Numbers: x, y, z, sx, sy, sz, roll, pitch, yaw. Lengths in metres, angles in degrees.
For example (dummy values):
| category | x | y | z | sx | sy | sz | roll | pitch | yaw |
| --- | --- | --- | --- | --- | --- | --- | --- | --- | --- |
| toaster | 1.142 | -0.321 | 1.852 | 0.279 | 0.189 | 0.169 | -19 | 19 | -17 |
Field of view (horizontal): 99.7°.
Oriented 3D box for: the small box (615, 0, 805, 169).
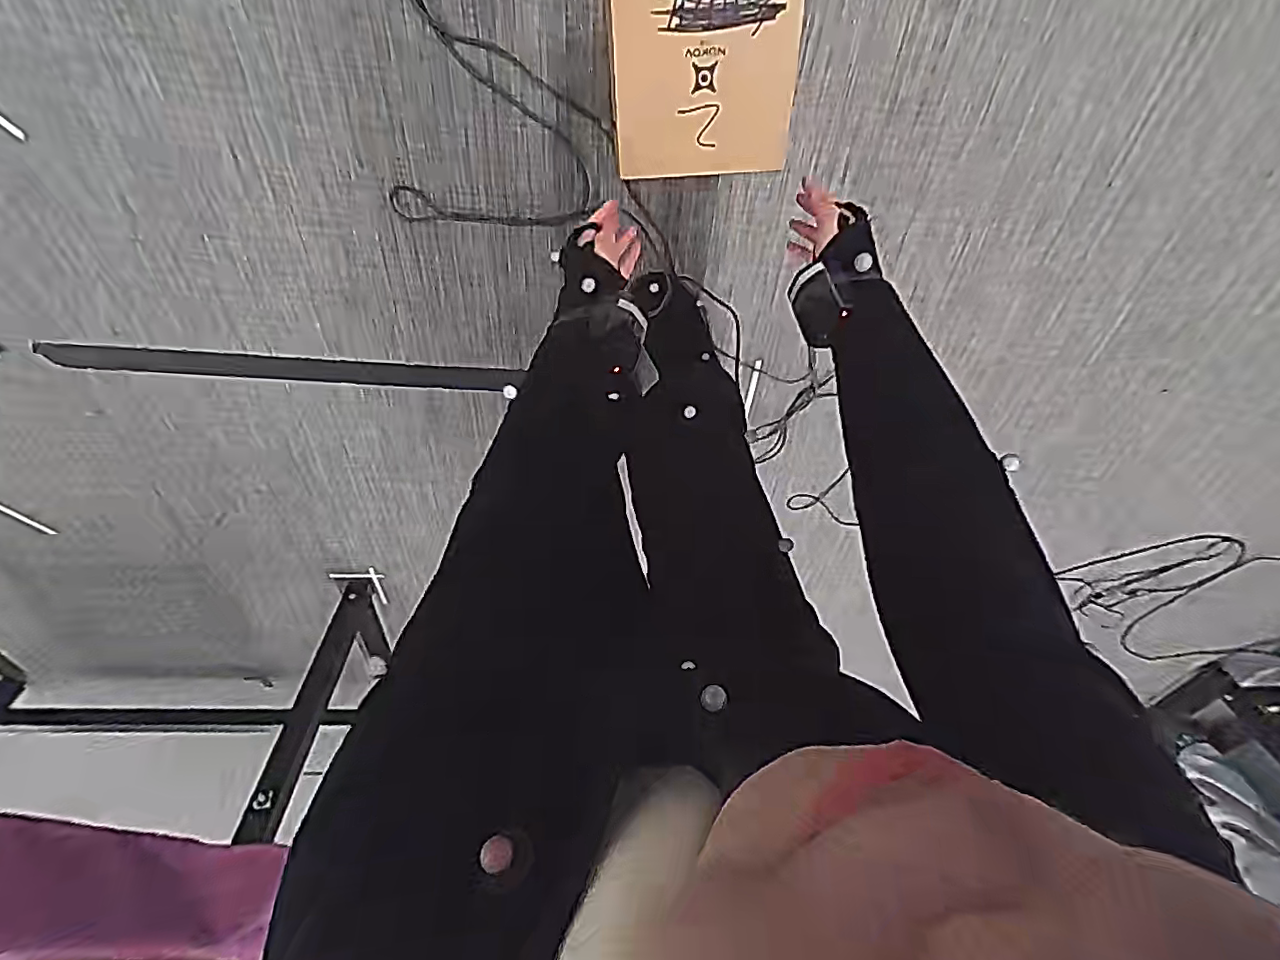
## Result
| category | x | y | z | sx | sy | sz | roll | pitch | yaw |
| --- | --- | --- | --- | --- | --- | --- | --- | --- | --- |
| small box | 0.080 | -0.486 | 0.644 | 0.168 | 0.176 | 0.179 | -12 | 114 | -18 |
